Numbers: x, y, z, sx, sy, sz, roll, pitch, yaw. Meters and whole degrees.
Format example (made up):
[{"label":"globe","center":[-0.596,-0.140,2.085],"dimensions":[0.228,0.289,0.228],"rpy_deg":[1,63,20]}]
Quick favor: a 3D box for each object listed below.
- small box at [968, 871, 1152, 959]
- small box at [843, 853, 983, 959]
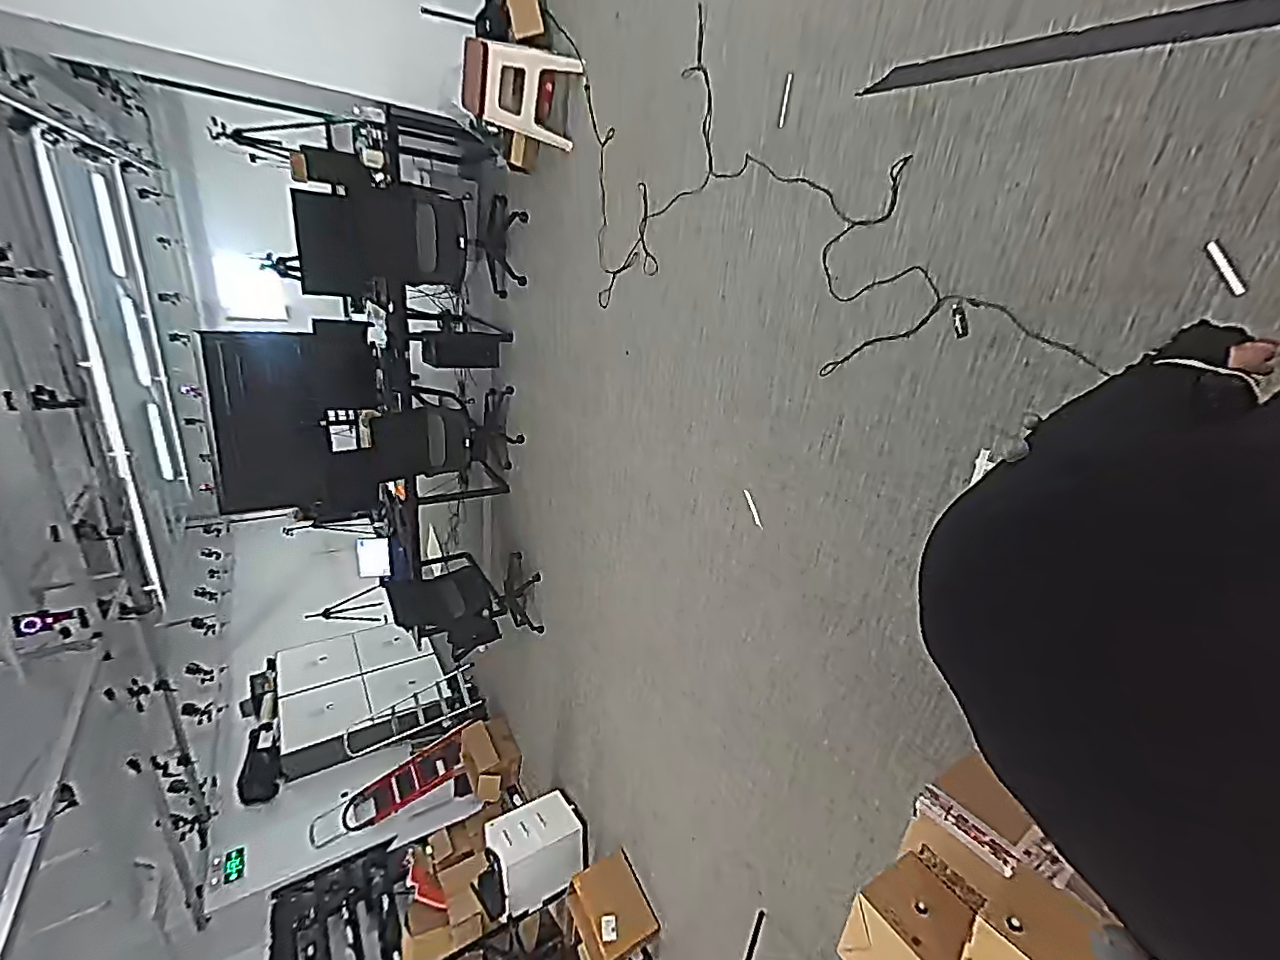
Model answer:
[{"label":"small box","center":[0.622,0.745,0.808],"dimensions":[0.179,0.176,0.168],"rpy_deg":[24,114,53]},{"label":"small box","center":[0.506,0.851,0.993],"dimensions":[0.168,0.176,0.179],"rpy_deg":[34,123,52]}]
